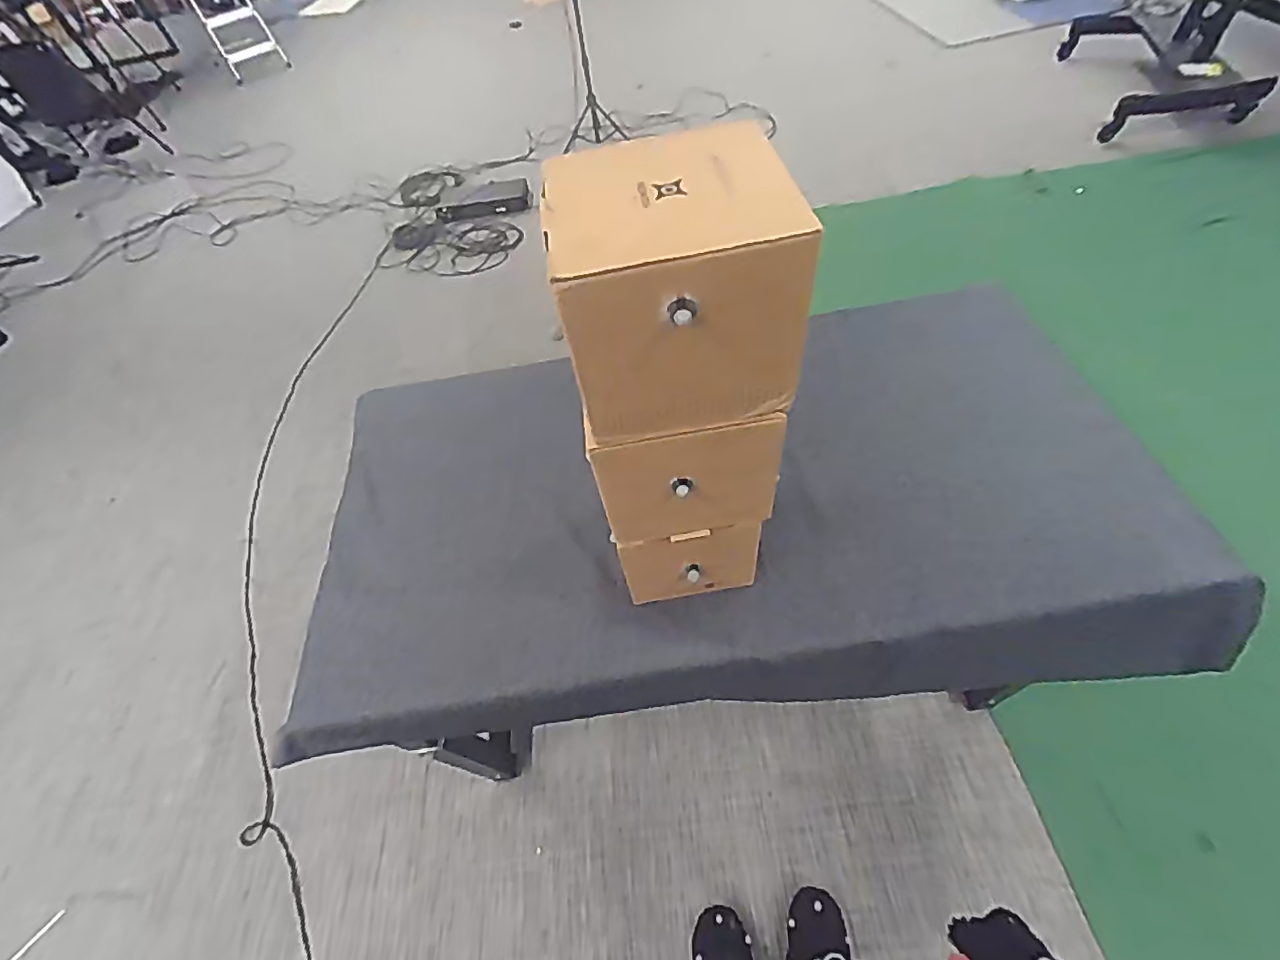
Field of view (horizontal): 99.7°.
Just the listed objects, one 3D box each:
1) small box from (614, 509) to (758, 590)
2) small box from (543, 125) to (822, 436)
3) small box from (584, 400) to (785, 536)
[{"bbox_3d":[0.052,0.033,0.712,0.168,0.176,0.179,-10,56,1],"label":"small box"},{"bbox_3d":[0.027,-0.154,0.446,0.179,0.176,0.168,-10,56,0],"label":"small box"},{"bbox_3d":[0.040,-0.058,0.575,0.179,0.176,0.168,-9,55,2],"label":"small box"}]
